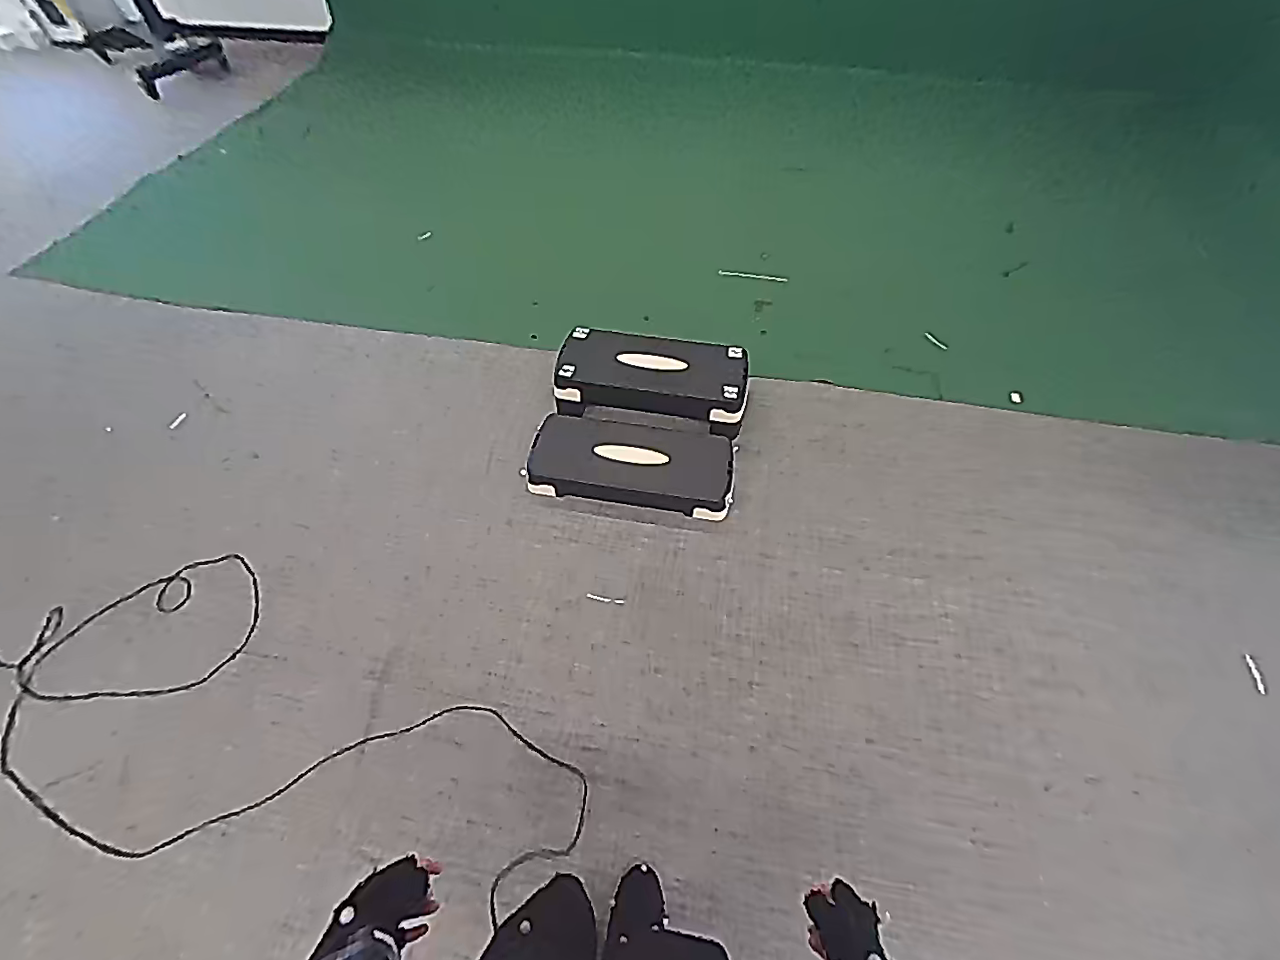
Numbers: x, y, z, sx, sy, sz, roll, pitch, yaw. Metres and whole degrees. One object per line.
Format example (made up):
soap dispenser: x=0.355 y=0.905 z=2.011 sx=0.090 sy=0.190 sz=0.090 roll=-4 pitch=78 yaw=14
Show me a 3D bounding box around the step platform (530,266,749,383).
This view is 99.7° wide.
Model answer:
step platform: x=0.000 y=-0.513 z=1.786 sx=0.684 sy=0.204 sz=0.286 roll=8 pitch=56 yaw=6
